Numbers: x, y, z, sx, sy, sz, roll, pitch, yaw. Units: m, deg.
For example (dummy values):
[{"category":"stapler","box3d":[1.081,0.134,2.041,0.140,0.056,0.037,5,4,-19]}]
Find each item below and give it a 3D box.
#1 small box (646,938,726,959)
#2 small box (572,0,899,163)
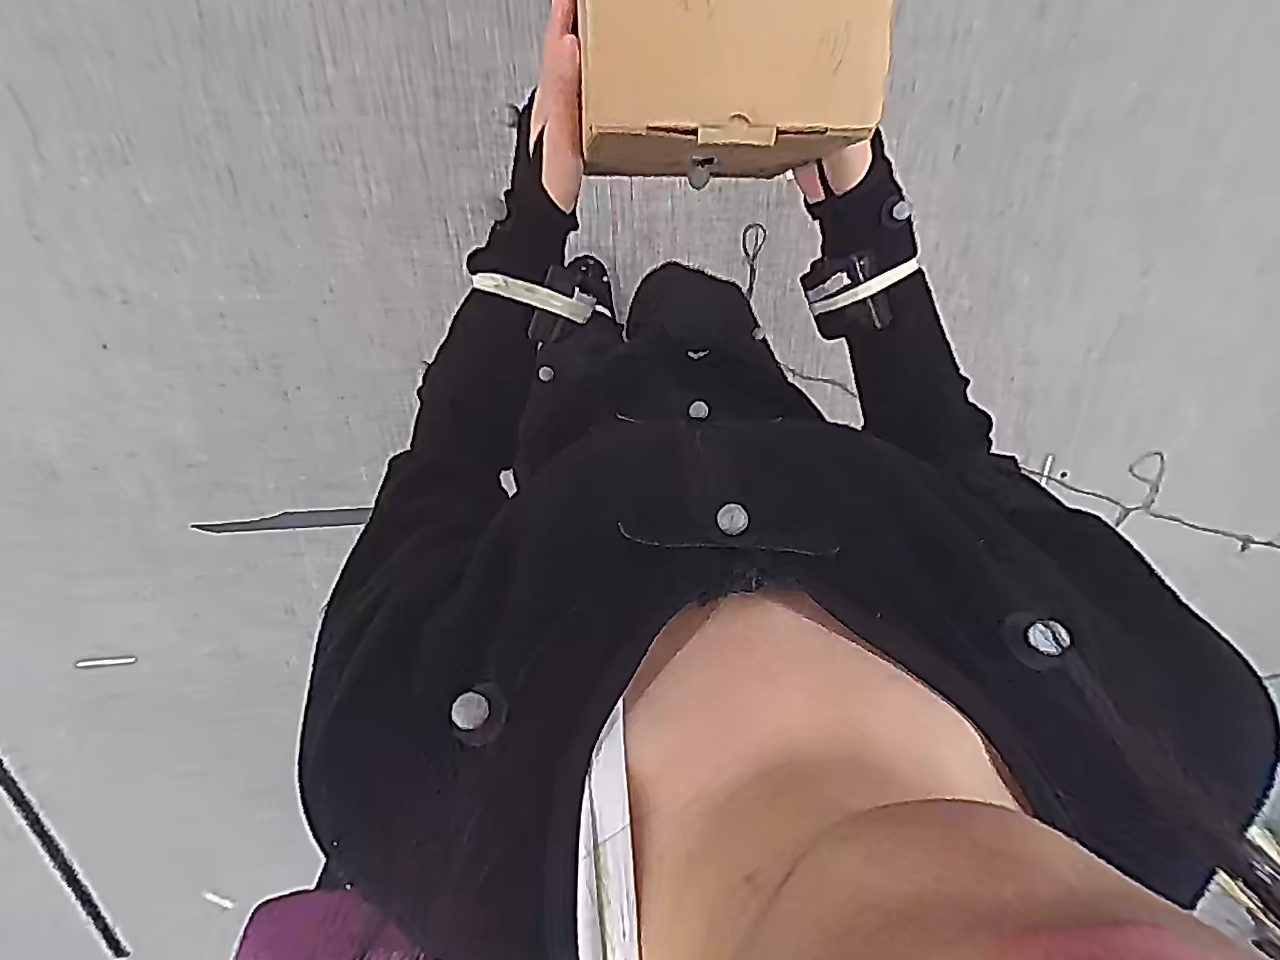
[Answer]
[{"category":"small box","box3d":[0.104,1.091,1.122,0.168,0.176,0.179,-3,113,-6]},{"category":"small box","box3d":[0.044,-0.306,0.334,0.168,0.176,0.179,-4,113,-8]}]
